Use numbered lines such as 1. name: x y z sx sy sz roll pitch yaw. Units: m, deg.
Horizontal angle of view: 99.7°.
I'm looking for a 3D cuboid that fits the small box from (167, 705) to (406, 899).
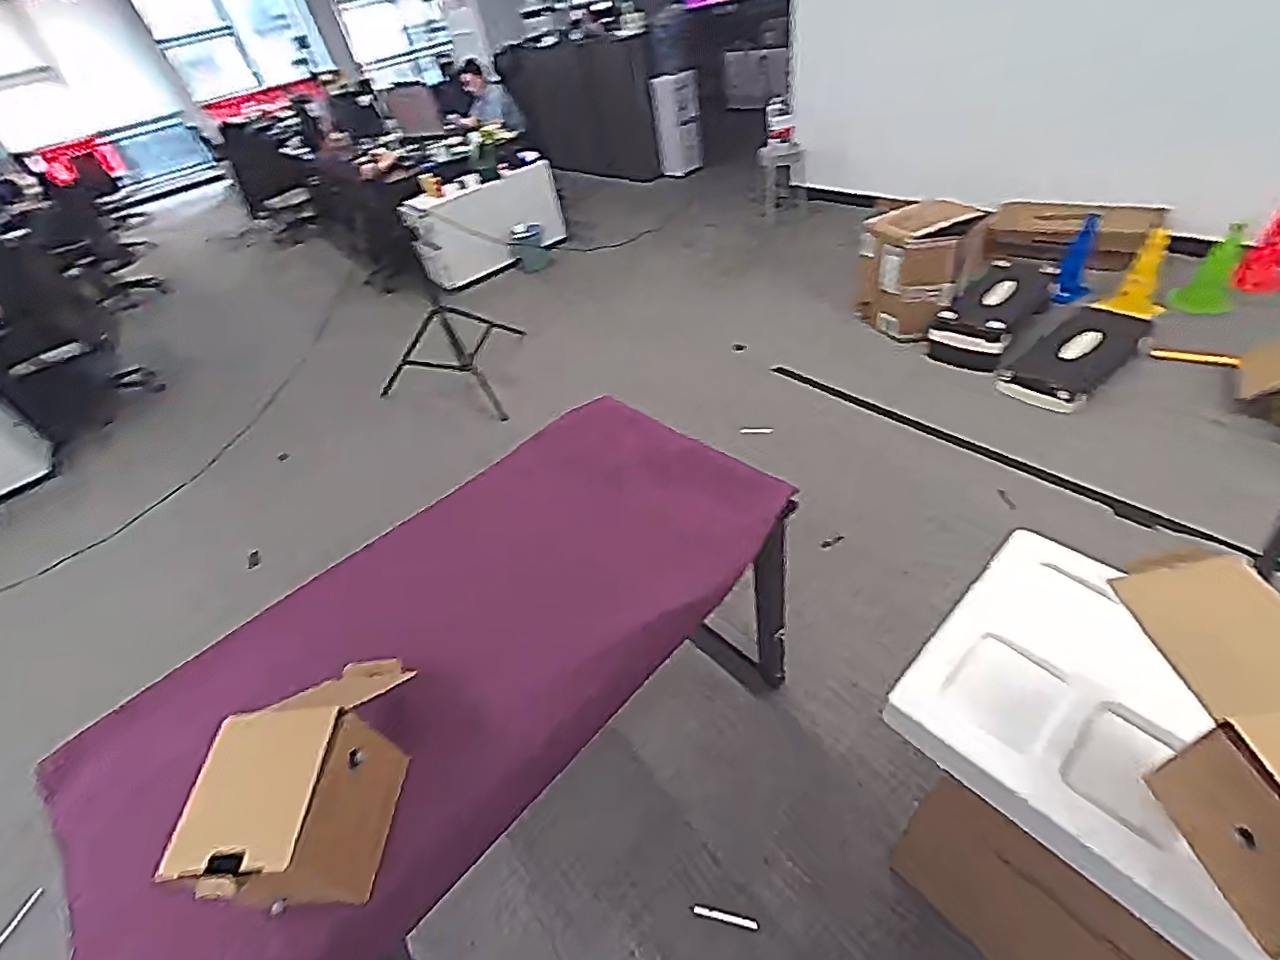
1. small box: -0.437 0.422 0.710 0.168 0.176 0.179 -8 42 8
